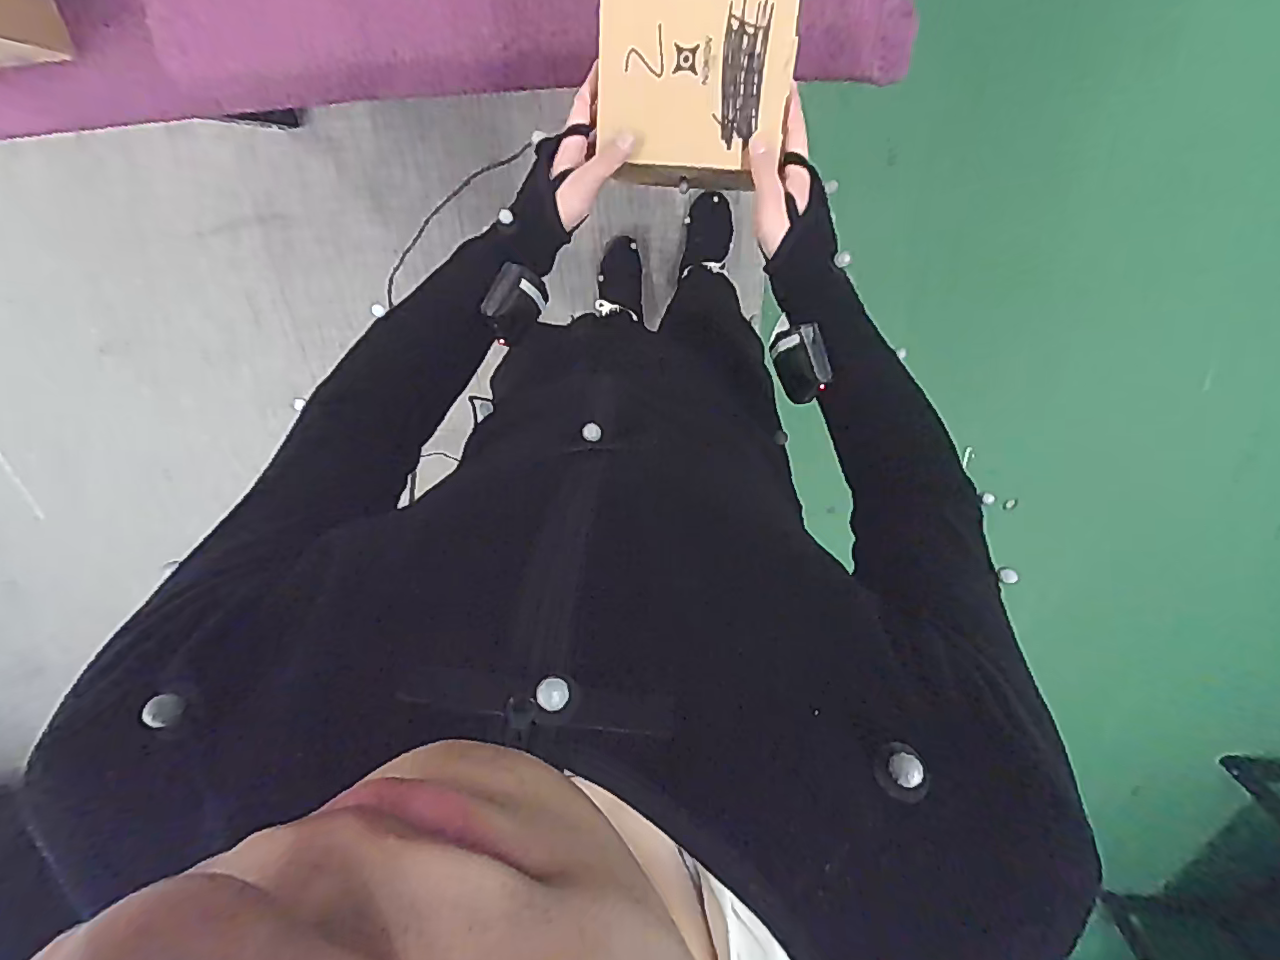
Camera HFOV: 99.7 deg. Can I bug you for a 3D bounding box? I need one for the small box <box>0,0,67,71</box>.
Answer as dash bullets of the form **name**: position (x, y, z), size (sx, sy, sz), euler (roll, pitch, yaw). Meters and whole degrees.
- **small box**: position (-0.777, -0.544, 0.551), size (0.168, 0.176, 0.179), euler (-2, 117, 4)
